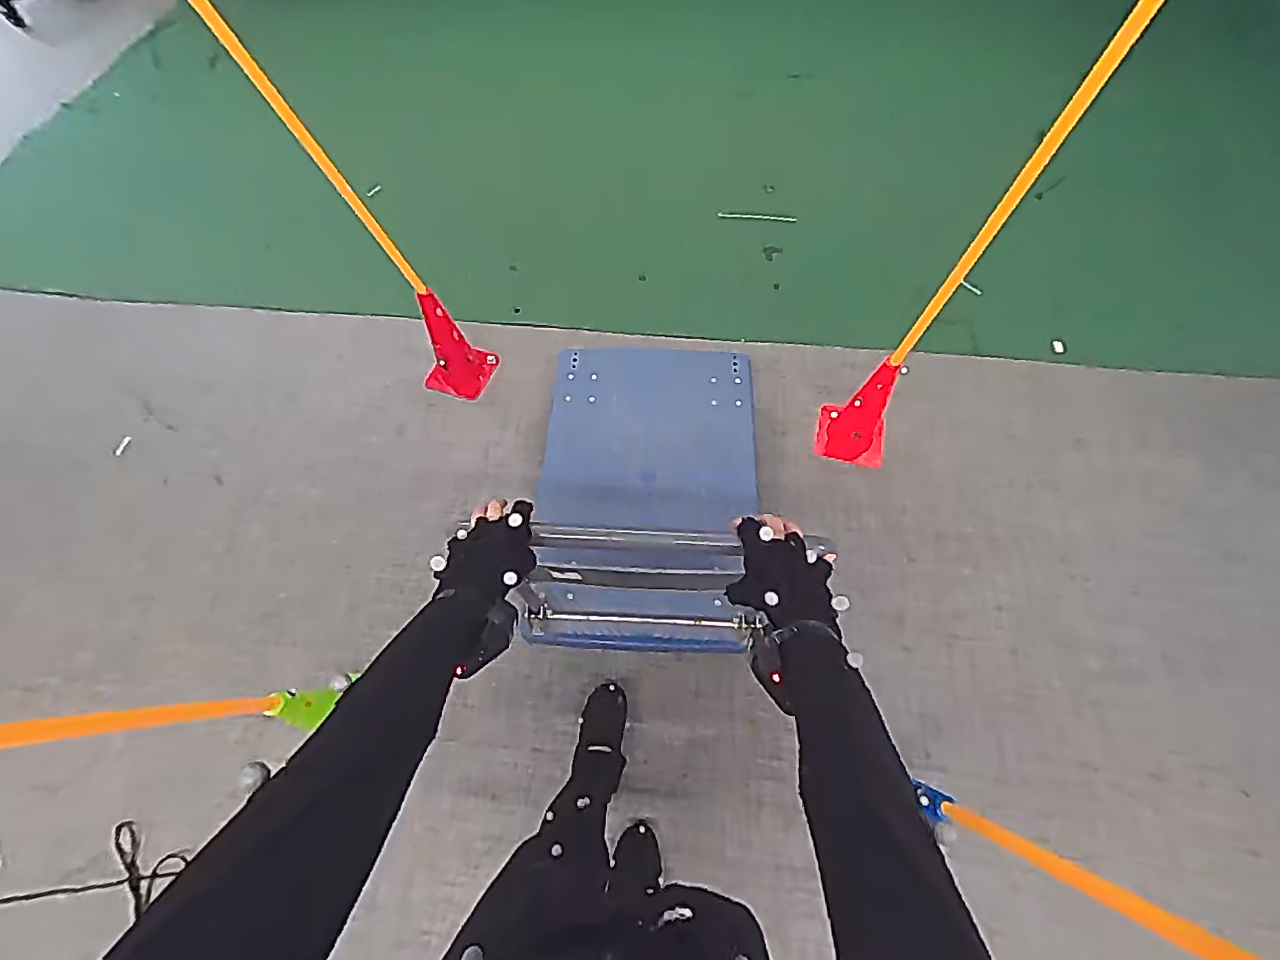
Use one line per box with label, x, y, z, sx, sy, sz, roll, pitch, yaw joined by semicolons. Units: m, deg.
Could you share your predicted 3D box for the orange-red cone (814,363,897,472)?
orange-red cone;0.650;-0.203;1.544;0.198;0.360;0.199;15;64;10
